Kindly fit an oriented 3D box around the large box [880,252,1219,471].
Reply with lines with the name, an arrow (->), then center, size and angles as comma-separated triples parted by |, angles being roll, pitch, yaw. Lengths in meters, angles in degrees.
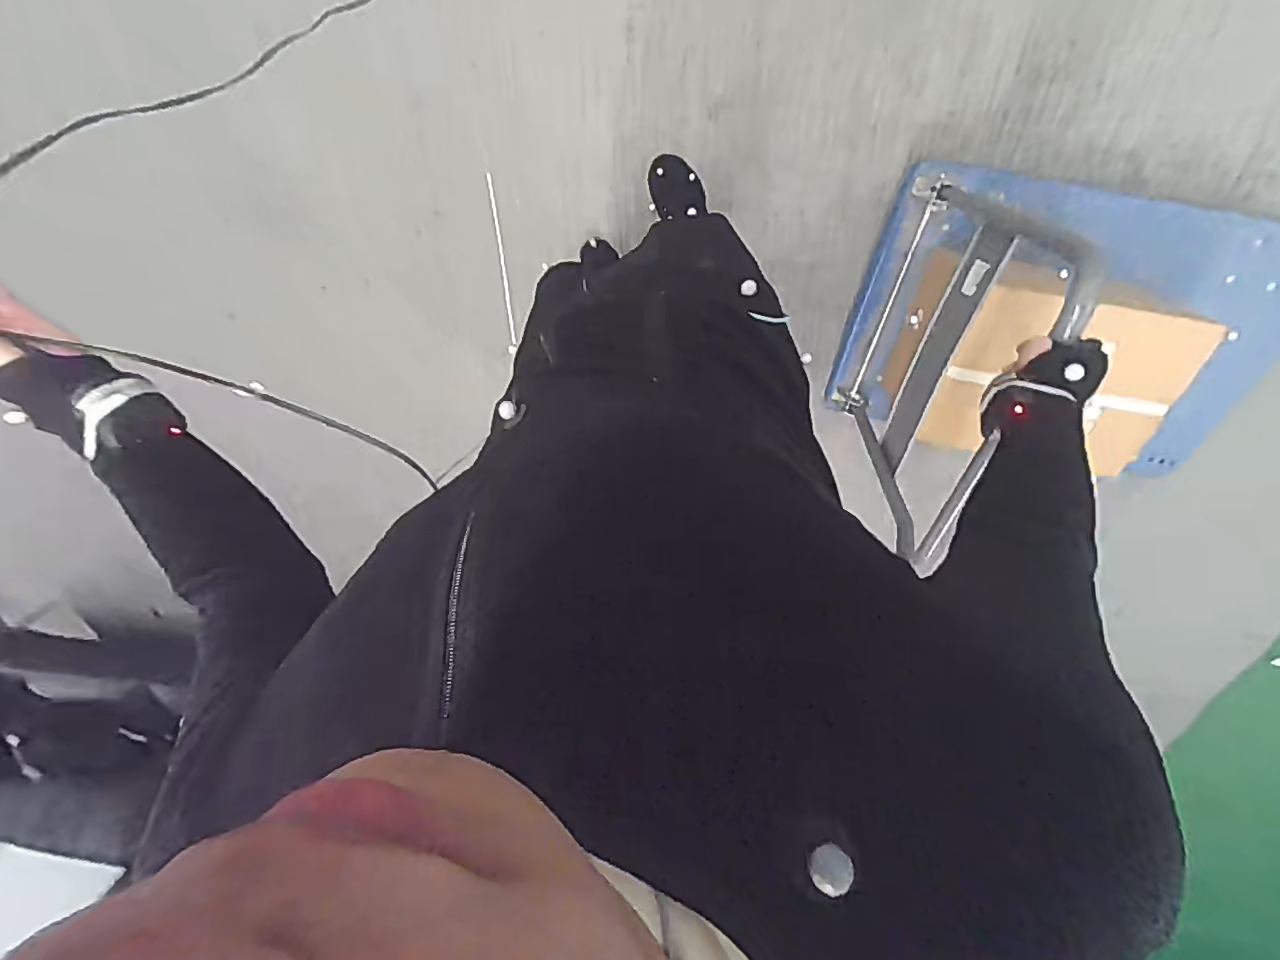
large box -> 0.778, -0.258, 1.120 | 0.408, 0.320, 0.320 | 11, 126, 3
